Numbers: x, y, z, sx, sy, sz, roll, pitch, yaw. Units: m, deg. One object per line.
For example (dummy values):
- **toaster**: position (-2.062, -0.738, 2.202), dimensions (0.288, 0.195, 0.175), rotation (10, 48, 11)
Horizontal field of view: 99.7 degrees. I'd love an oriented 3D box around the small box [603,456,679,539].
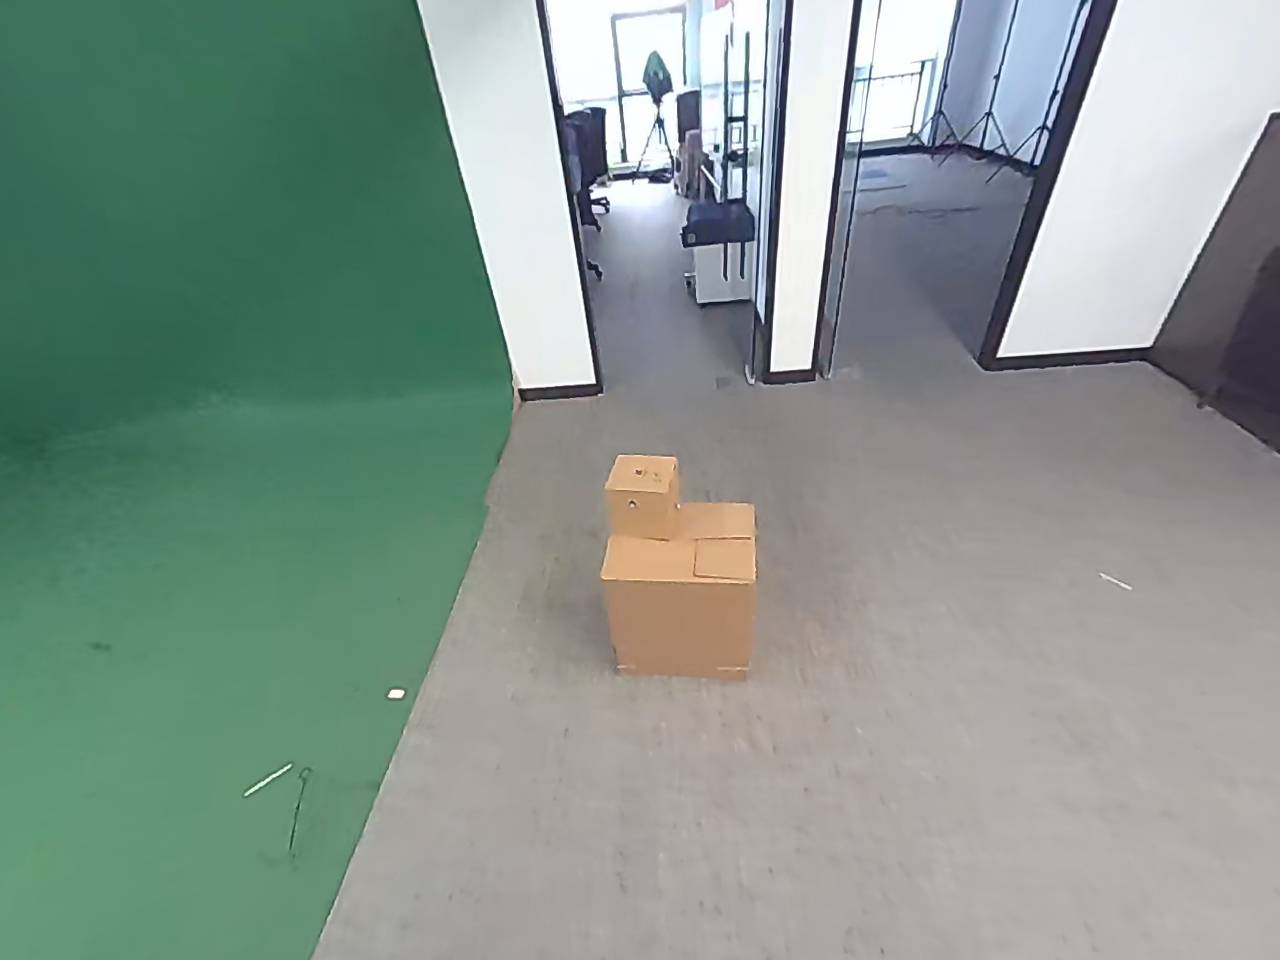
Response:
- **small box**: position (0.009, 0.049, 1.526), dimensions (0.179, 0.176, 0.168), rotation (4, 39, 13)
